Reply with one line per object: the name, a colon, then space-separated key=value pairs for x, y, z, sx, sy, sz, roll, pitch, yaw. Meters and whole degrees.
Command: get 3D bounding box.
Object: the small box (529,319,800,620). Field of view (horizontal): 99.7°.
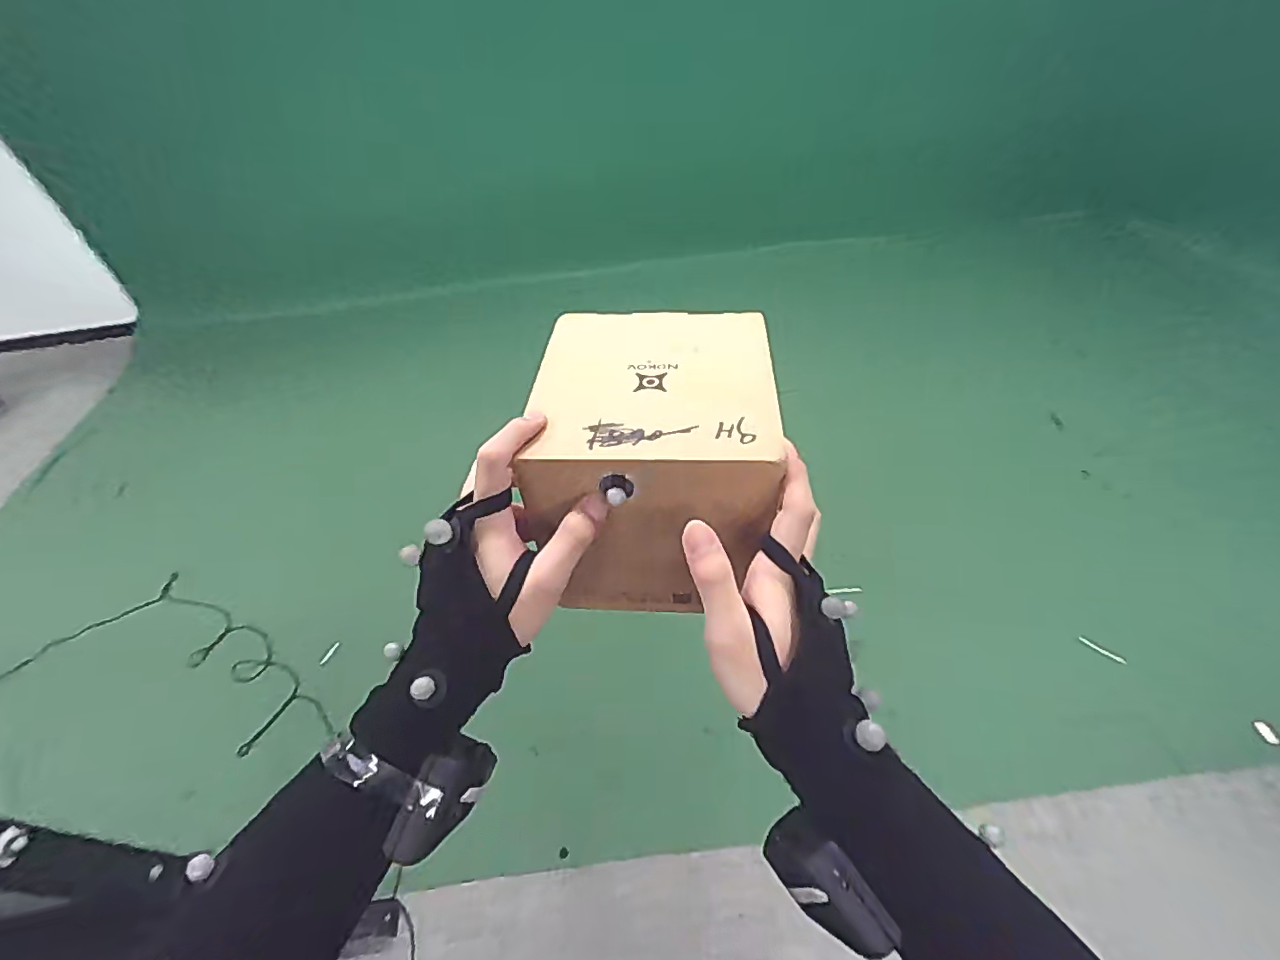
small box: x=0.024 y=-0.012 z=0.434 sx=0.168 sy=0.176 sz=0.179 roll=1 pitch=44 yaw=6
